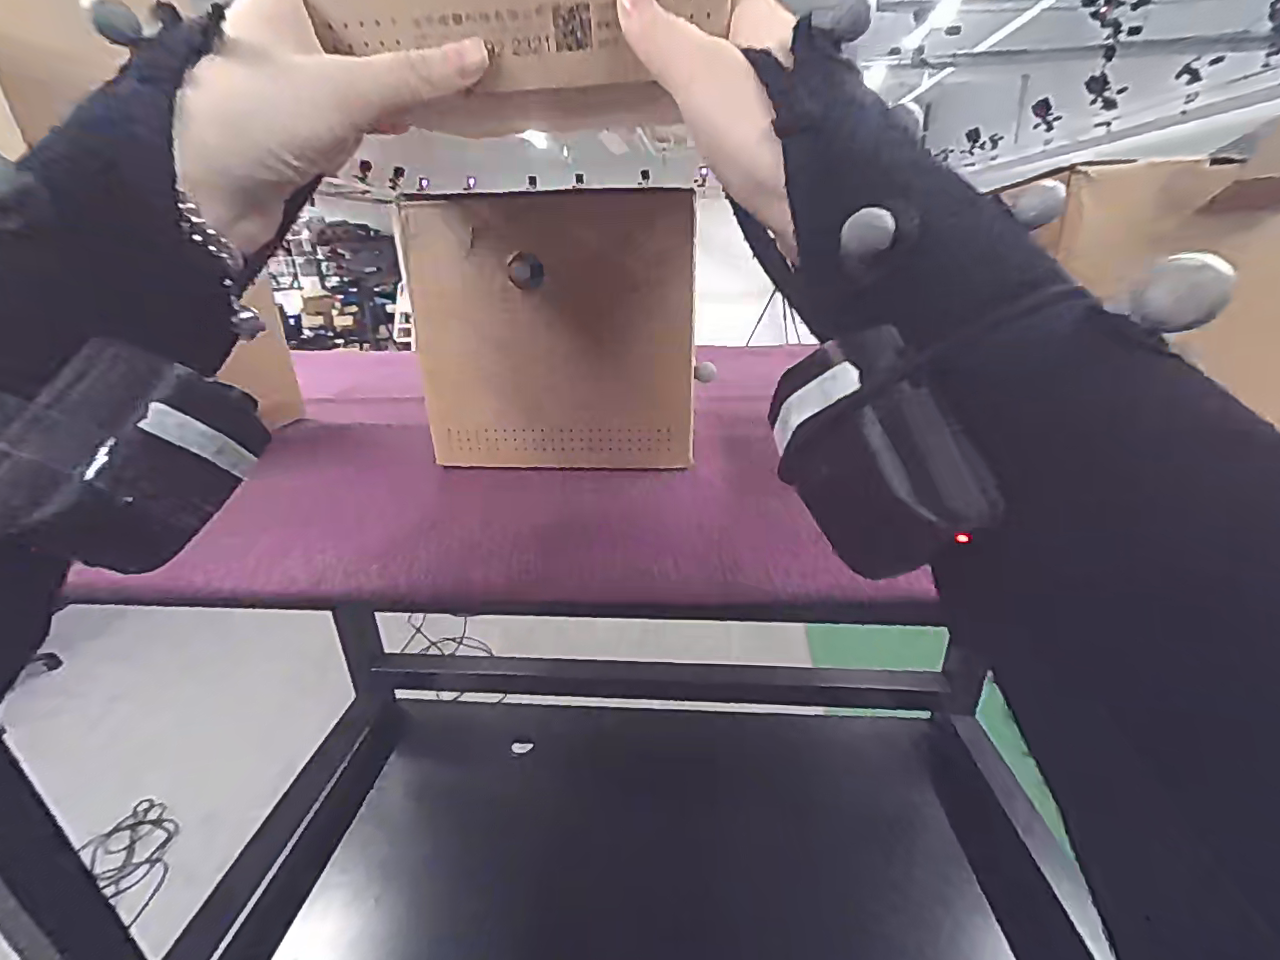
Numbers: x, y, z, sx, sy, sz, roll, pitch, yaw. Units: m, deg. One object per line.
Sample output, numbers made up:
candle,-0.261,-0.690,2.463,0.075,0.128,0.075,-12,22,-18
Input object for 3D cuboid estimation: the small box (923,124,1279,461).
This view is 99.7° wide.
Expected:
small box,0.310,-0.118,0.361,0.168,0.176,0.179,0,20,8

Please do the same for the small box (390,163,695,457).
small box,-0.048,-0.119,0.401,0.179,0.176,0.168,1,21,5

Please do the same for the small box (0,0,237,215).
small box,-0.411,-0.256,0.337,0.179,0.176,0.168,-2,23,1

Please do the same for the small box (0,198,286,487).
small box,-0.399,-0.103,0.397,0.168,0.176,0.179,-2,23,2

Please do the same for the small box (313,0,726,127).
small box,-0.049,-0.272,0.244,0.168,0.176,0.179,-2,29,4
